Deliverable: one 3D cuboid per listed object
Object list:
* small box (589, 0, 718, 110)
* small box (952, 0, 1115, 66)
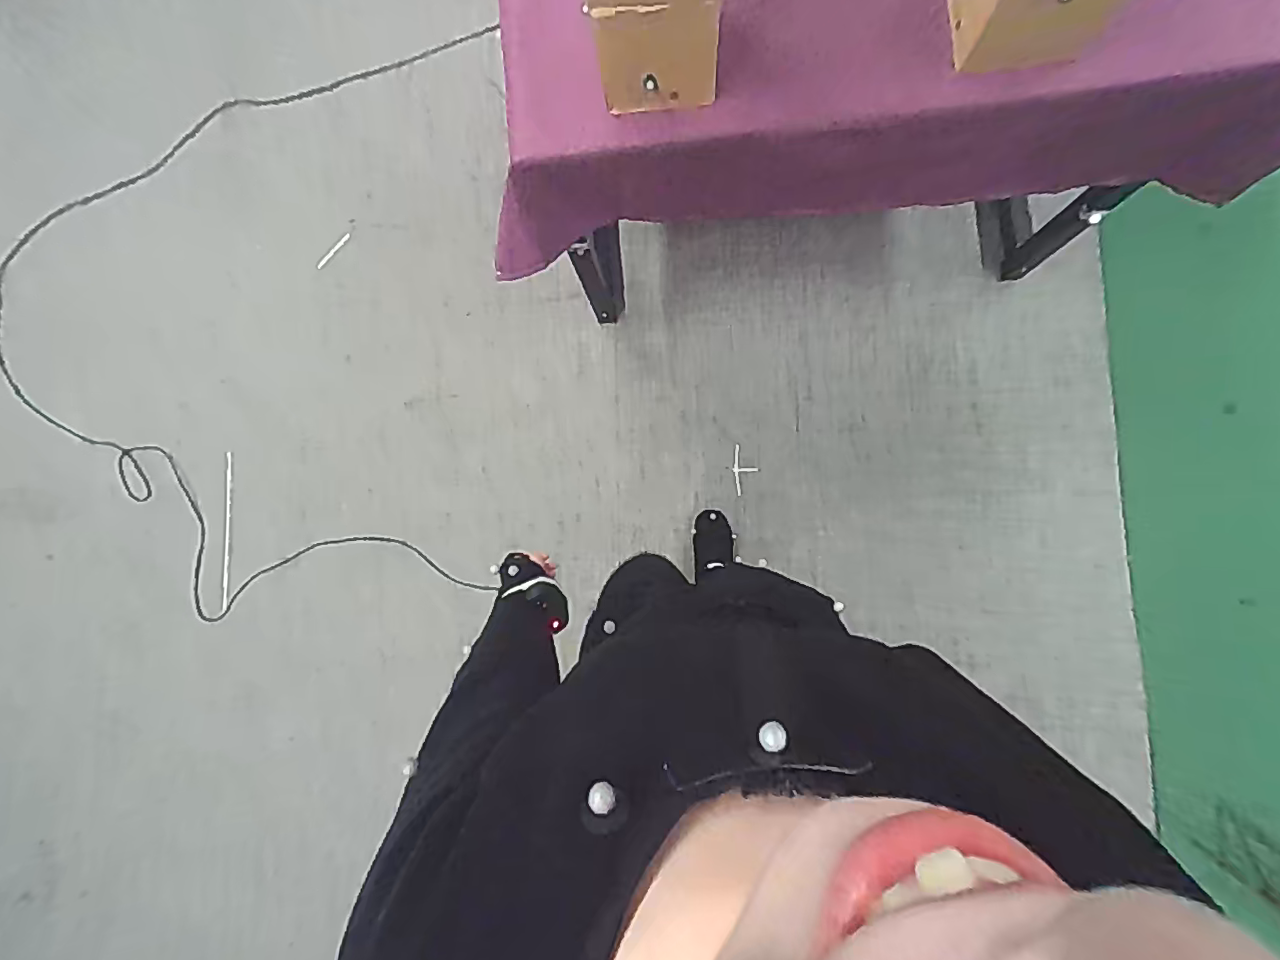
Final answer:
[{"bbox_3d":[0.019,-0.674,0.767,0.168,0.176,0.179,-3,85,5],"label":"small box"},{"bbox_3d":[0.538,-0.697,0.721,0.179,0.176,0.168,-3,85,5],"label":"small box"}]
